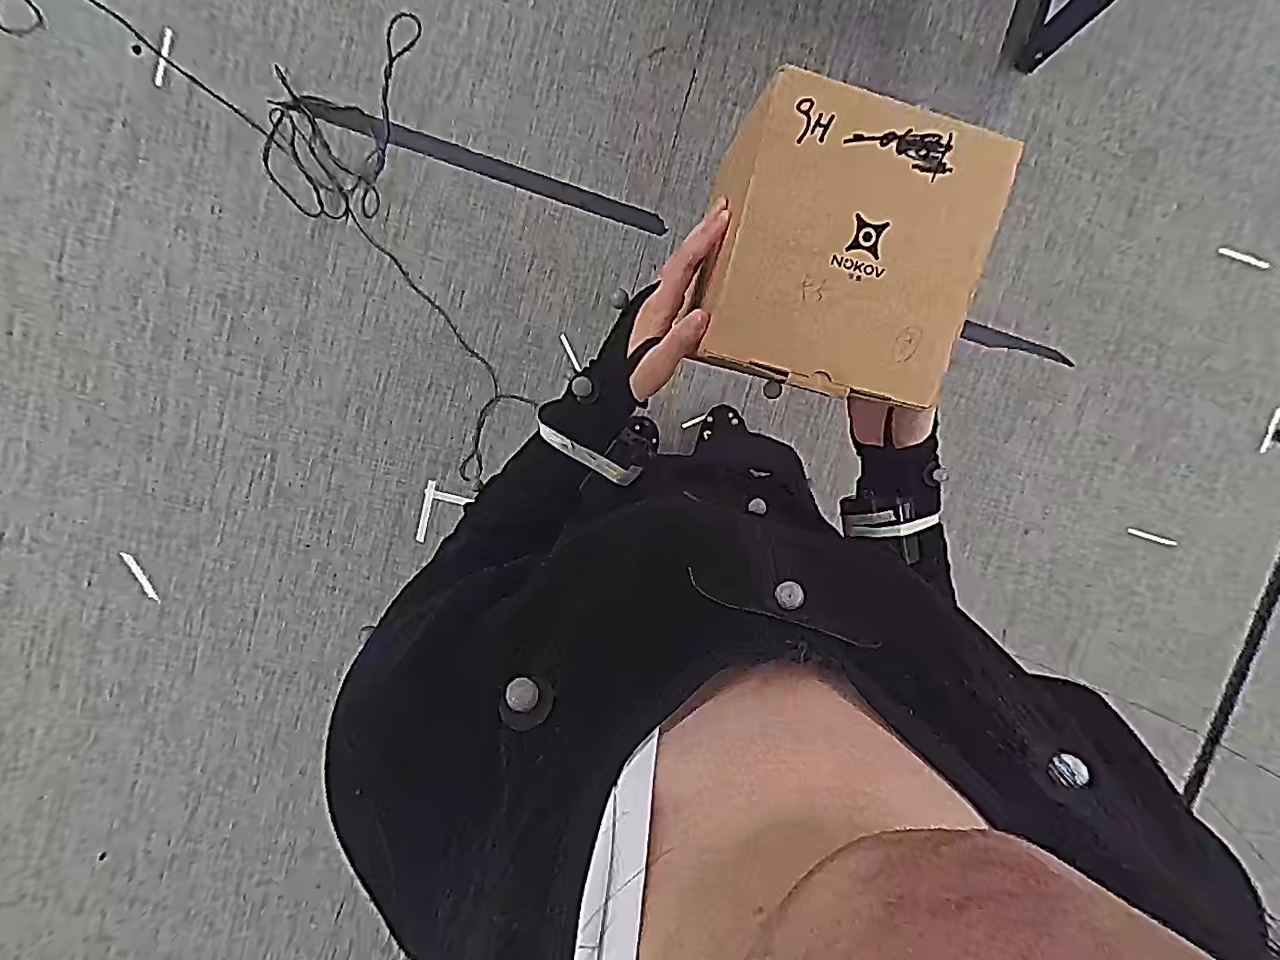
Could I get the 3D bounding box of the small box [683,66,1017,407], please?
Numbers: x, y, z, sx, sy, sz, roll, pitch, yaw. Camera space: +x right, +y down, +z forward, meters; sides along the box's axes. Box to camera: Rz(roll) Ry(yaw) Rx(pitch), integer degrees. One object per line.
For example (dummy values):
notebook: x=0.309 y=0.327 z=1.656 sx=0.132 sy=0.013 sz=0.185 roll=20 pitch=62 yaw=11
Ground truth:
small box: x=0.138 y=-0.170 z=0.431 sx=0.168 sy=0.176 sz=0.179 roll=13 pitch=102 yaw=-7
